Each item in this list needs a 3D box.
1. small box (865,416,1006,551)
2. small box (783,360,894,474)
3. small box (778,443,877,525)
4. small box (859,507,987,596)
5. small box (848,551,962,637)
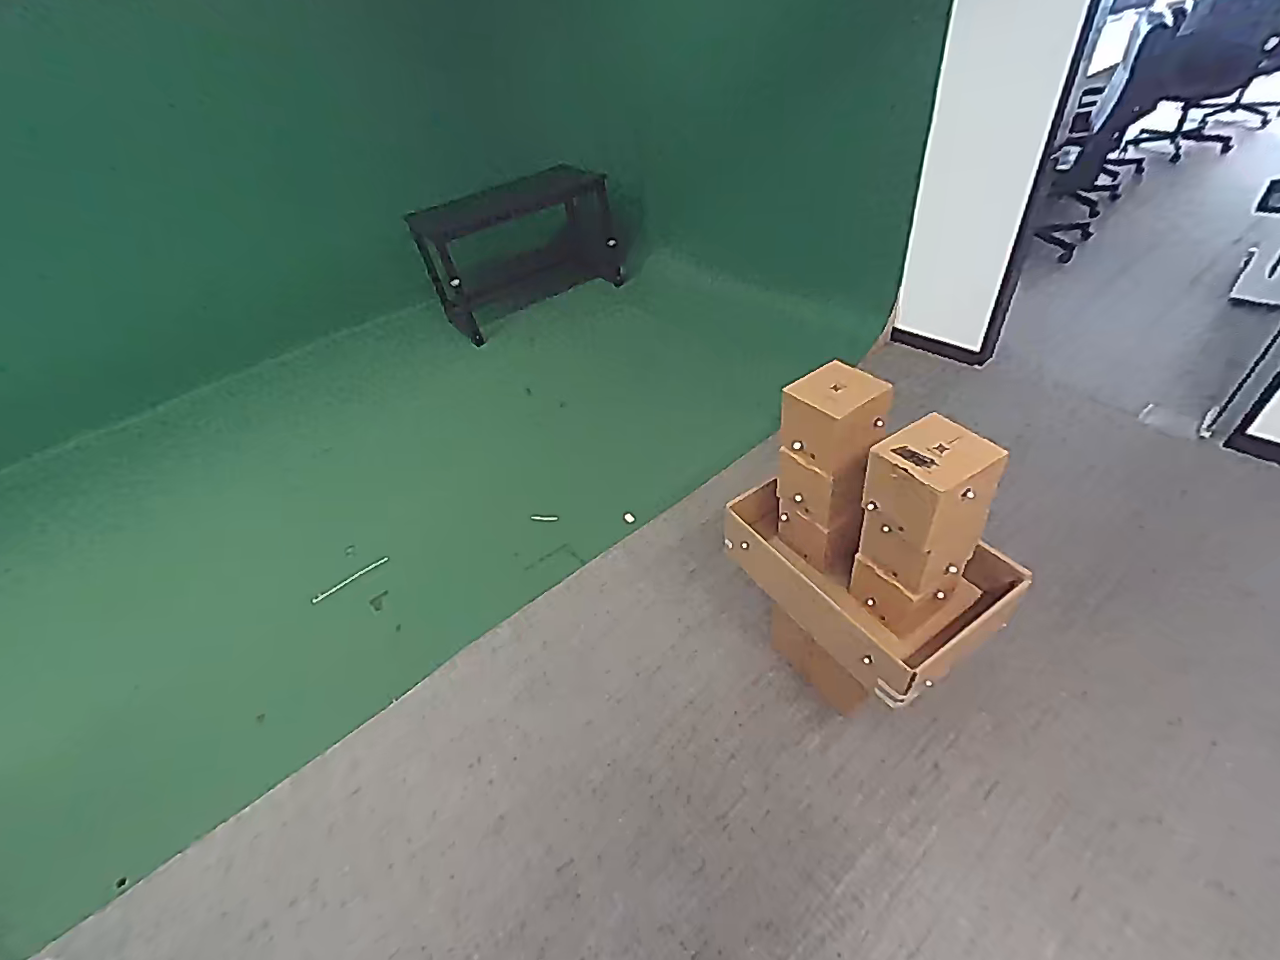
[{"bbox_3d":[0.571,0.009,1.071,0.179,0.176,0.168,-26,46,-15],"label":"small box"},{"bbox_3d":[0.448,-0.145,1.252,0.179,0.176,0.168,-29,46,-19],"label":"small box"},{"bbox_3d":[0.463,-0.021,1.357,0.179,0.176,0.168,-31,47,-20],"label":"small box"},{"bbox_3d":[0.610,0.118,1.190,0.179,0.176,0.168,-27,45,-17],"label":"small box"},{"bbox_3d":[0.625,0.240,1.300,0.179,0.176,0.168,-29,47,-17],"label":"small box"}]
